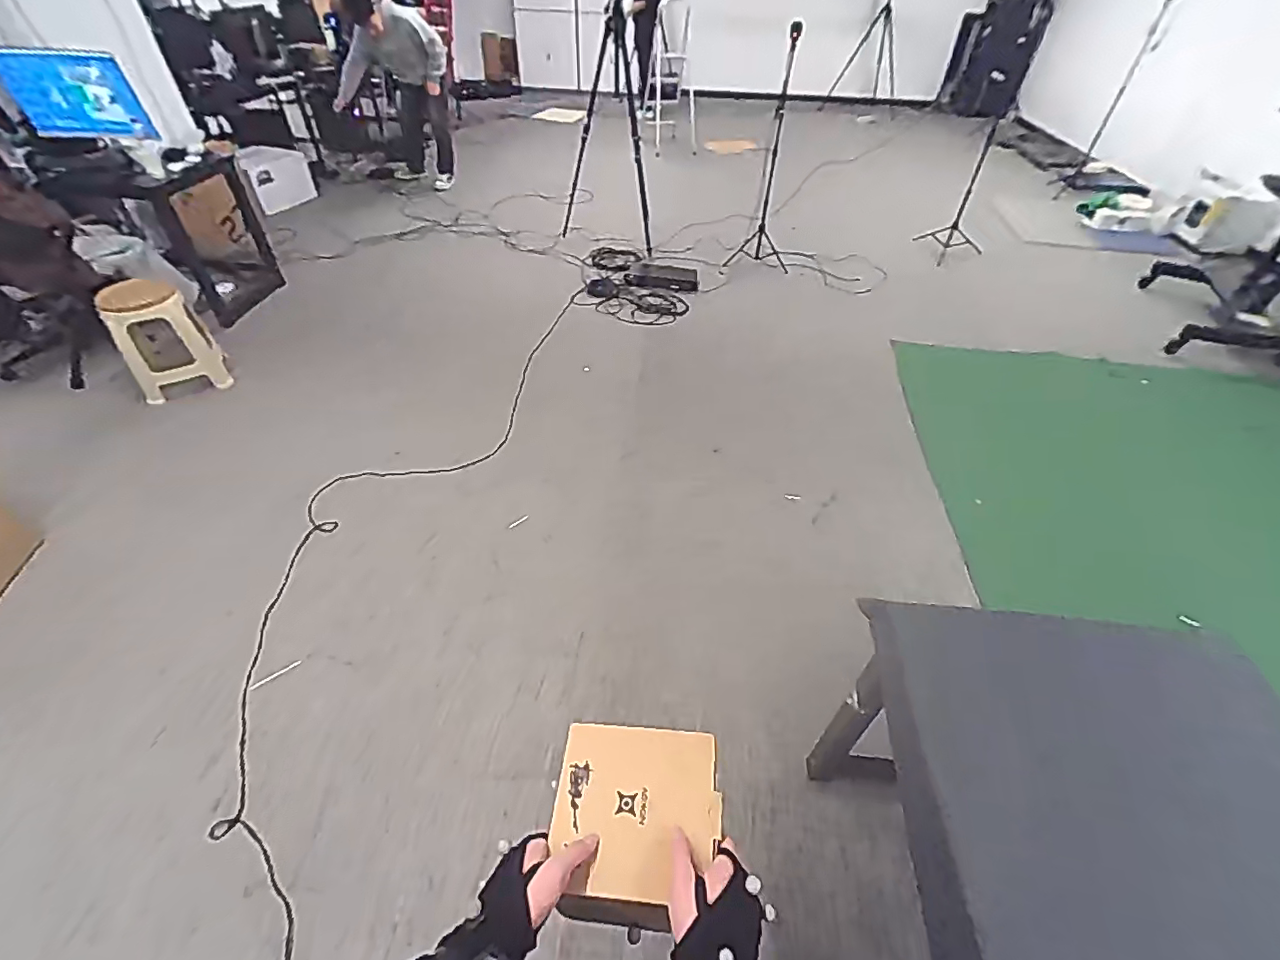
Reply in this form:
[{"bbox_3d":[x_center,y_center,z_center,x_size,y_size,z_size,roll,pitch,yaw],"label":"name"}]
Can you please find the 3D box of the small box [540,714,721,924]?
[{"bbox_3d":[-0.001,0.397,0.632,0.179,0.176,0.168,3,45,6],"label":"small box"}]
